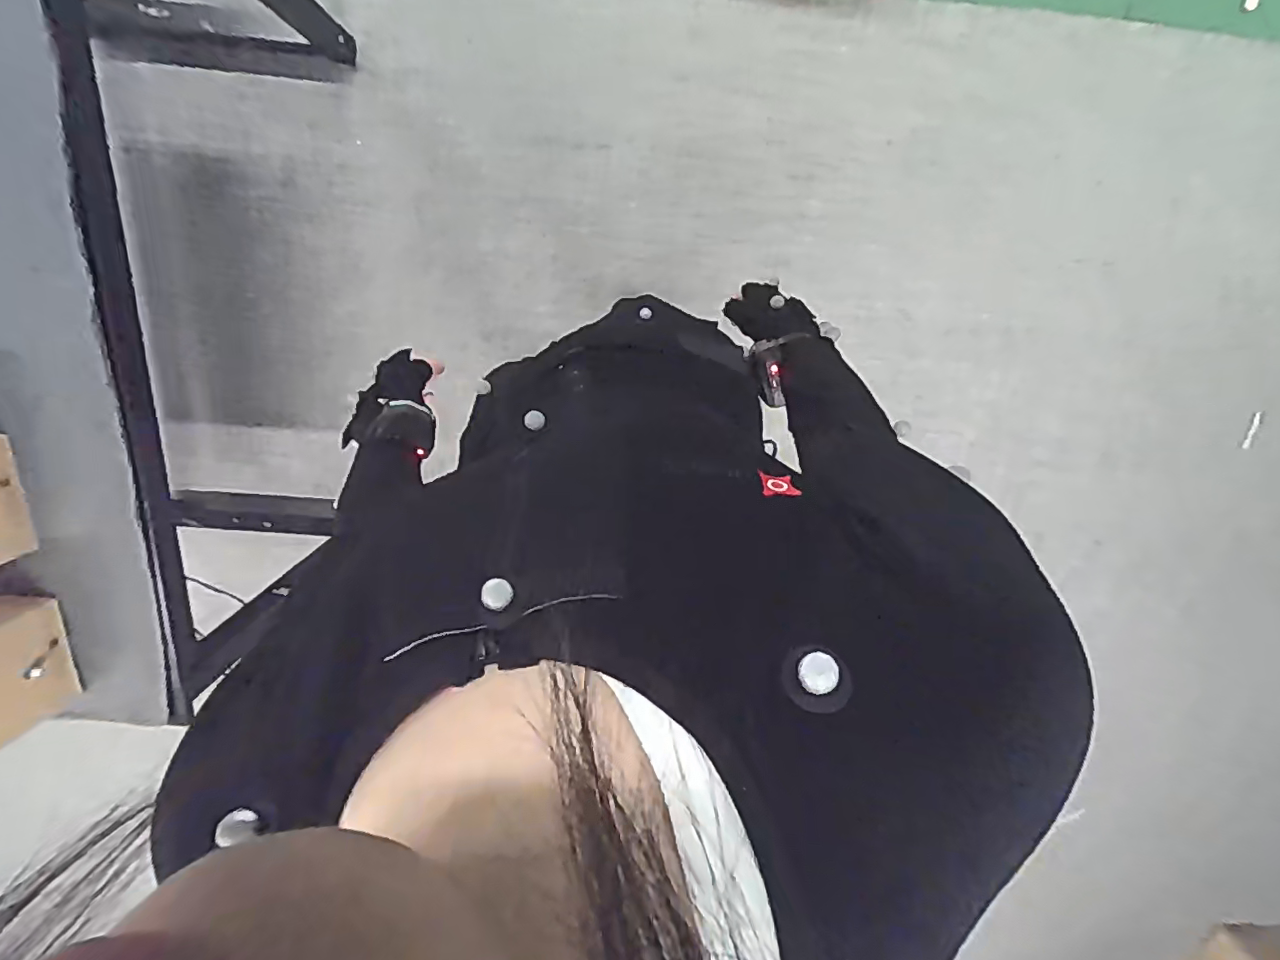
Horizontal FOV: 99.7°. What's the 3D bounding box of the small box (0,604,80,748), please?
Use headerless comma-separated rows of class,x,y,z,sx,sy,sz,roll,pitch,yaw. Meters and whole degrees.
small box,-0.916,0.272,0.710,0.179,0.176,0.168,3,106,-1
